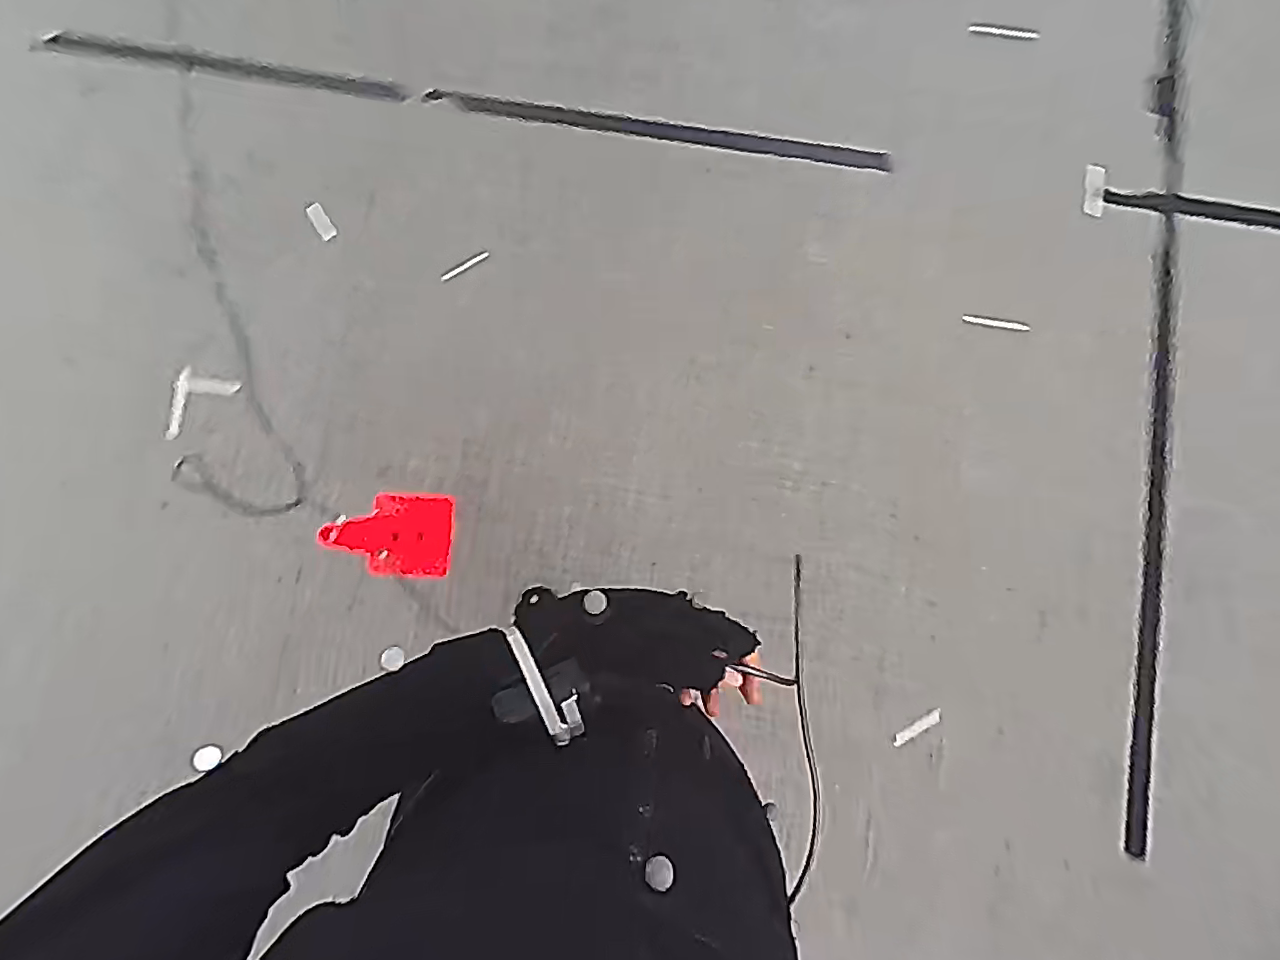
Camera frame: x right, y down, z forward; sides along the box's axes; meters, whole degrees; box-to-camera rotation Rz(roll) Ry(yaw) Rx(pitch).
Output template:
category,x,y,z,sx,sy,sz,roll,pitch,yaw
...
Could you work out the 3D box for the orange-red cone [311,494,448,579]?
category,x,y,z,sx,sy,sz,roll,pitch,yaw
orange-red cone,-0.568,0.121,1.138,0.199,0.360,0.198,4,85,-1
